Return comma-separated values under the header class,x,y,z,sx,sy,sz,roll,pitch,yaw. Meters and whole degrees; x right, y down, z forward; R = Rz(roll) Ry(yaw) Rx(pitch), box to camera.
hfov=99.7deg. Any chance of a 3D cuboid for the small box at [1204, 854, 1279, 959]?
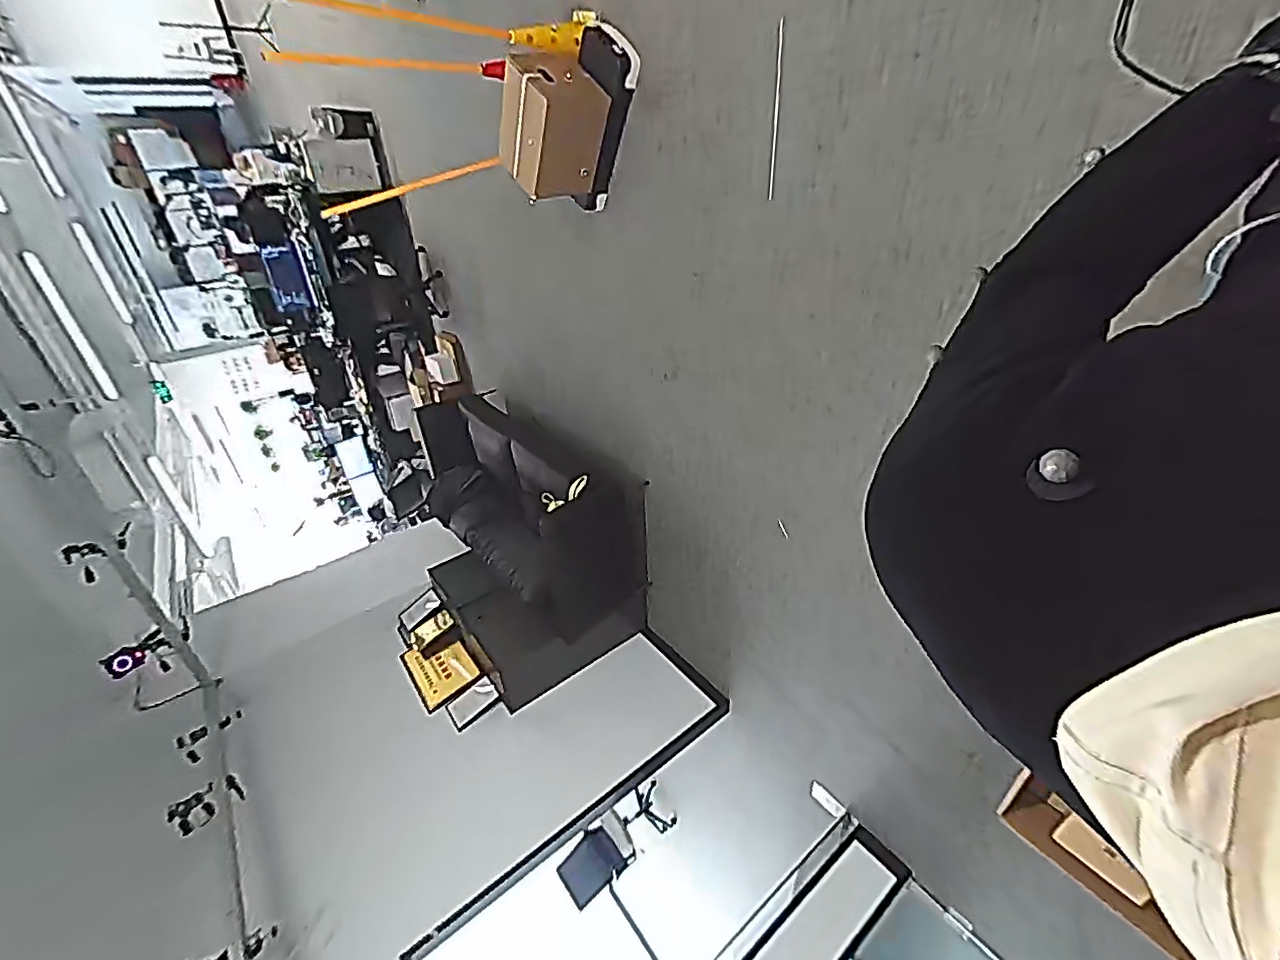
class,x,y,z,sx,sy,sz,roll,pitch,yaw
small box,1.200,0.838,0.978,0.179,0.176,0.168,35,138,44
